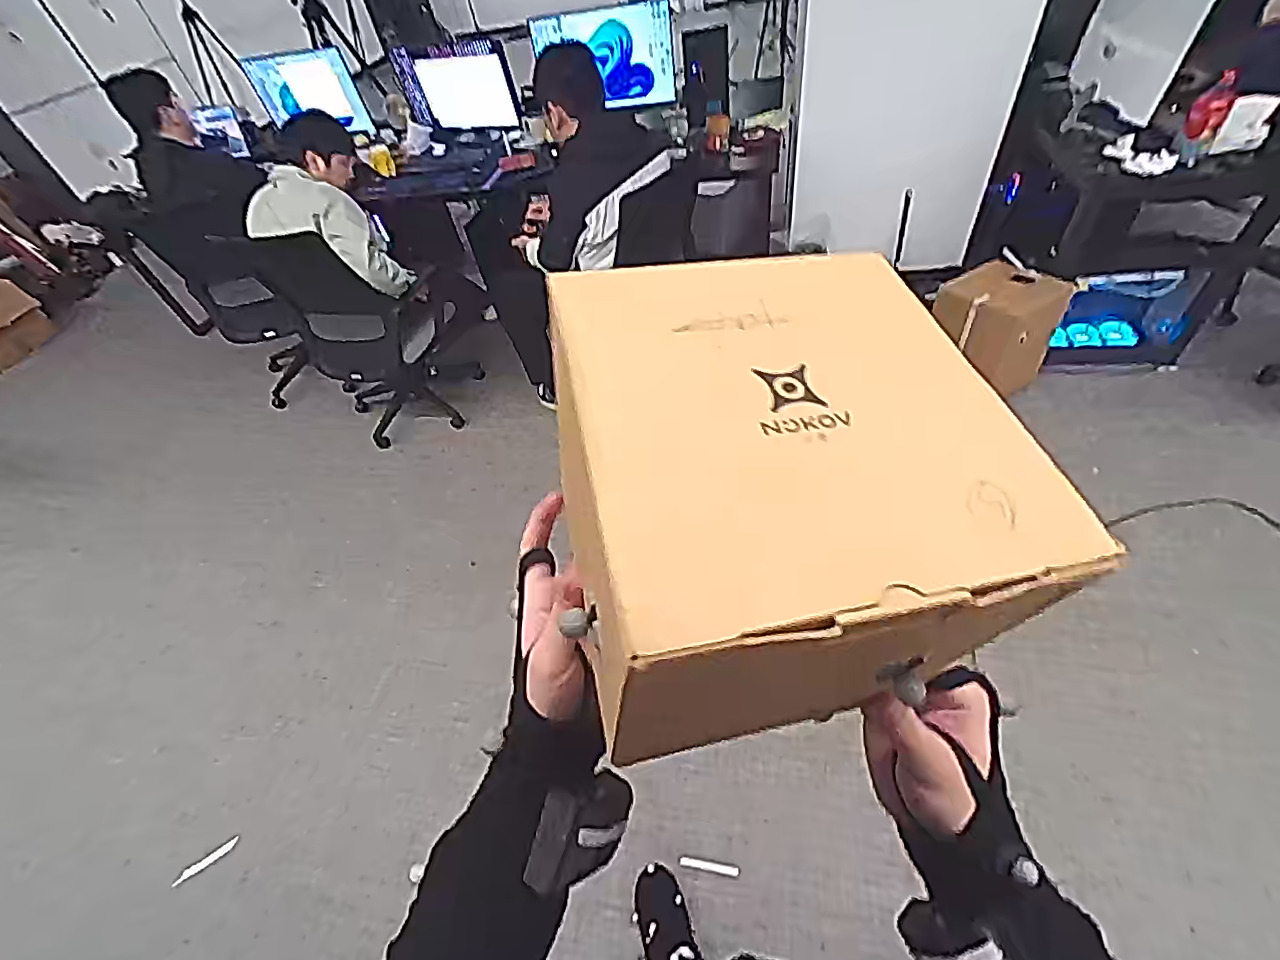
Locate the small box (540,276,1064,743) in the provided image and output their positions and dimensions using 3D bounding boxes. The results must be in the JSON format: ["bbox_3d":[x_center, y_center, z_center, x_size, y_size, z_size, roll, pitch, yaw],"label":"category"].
[{"bbox_3d":[0.046,0.023,0.283,0.168,0.176,0.179,-9,55,-11],"label":"small box"}]
